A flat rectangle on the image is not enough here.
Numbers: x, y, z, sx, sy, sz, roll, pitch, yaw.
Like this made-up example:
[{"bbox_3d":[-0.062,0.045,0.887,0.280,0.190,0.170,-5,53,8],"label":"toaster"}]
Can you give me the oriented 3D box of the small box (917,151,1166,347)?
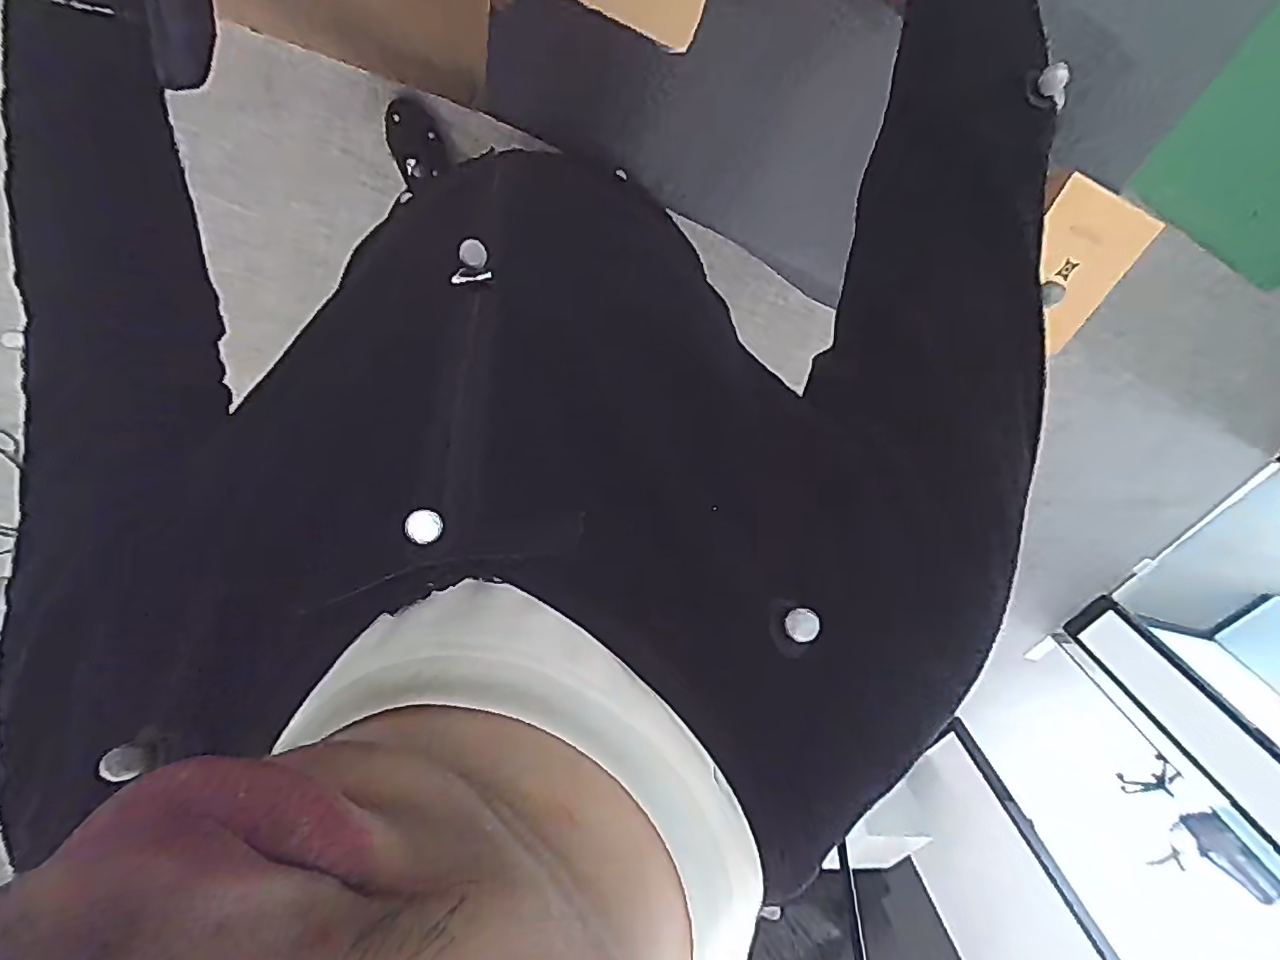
[{"bbox_3d":[0.509,-0.309,0.721,0.168,0.176,0.179,12,123,-20],"label":"small box"}]
